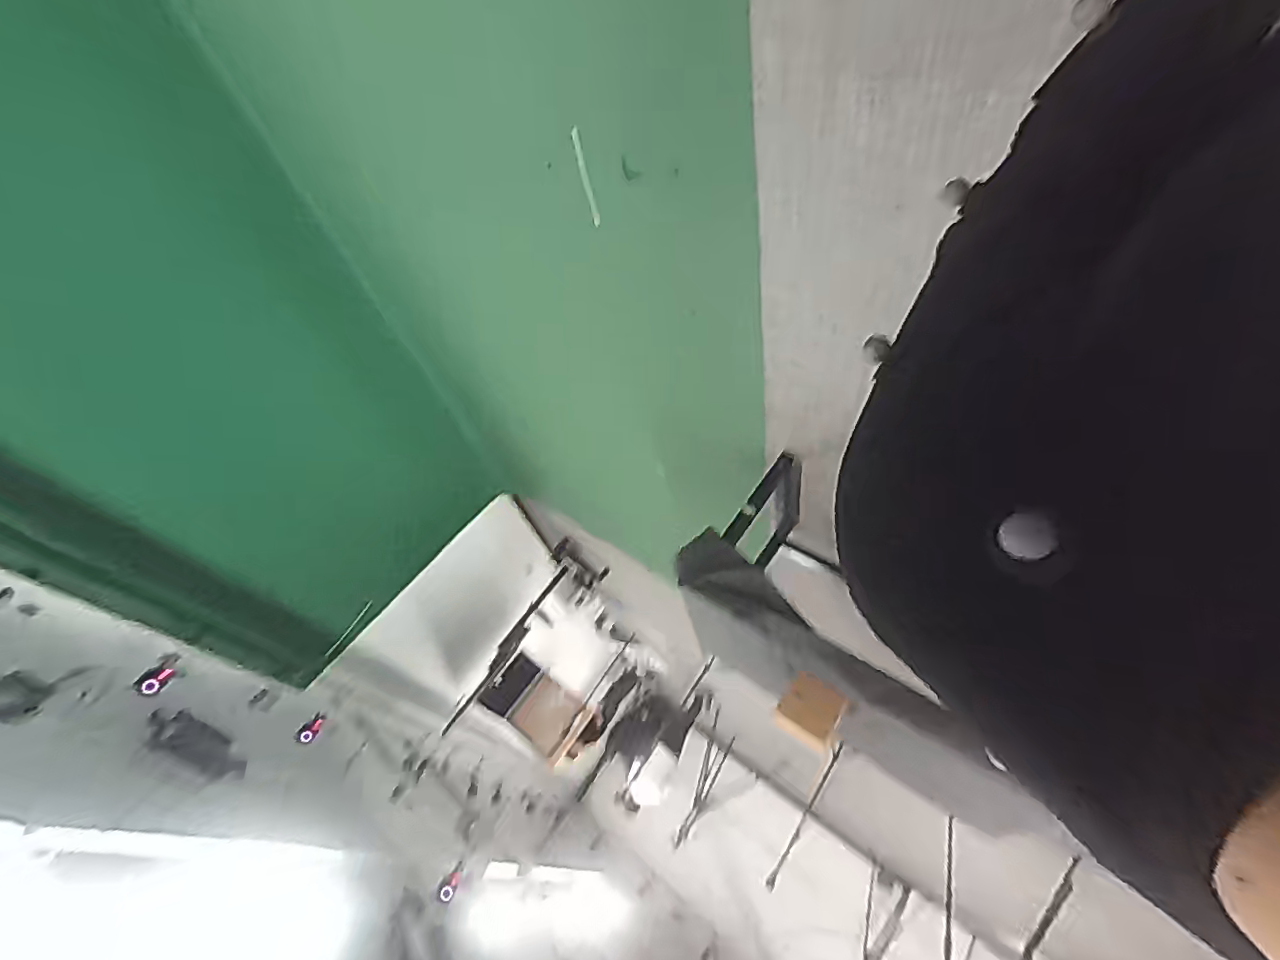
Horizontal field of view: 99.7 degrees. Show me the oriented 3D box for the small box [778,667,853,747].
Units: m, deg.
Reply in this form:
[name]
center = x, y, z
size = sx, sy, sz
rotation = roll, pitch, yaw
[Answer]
[small box]
center = 0.572, 0.735, 1.772
size = 0.179, 0.176, 0.168
rotation = 26, 156, 30
